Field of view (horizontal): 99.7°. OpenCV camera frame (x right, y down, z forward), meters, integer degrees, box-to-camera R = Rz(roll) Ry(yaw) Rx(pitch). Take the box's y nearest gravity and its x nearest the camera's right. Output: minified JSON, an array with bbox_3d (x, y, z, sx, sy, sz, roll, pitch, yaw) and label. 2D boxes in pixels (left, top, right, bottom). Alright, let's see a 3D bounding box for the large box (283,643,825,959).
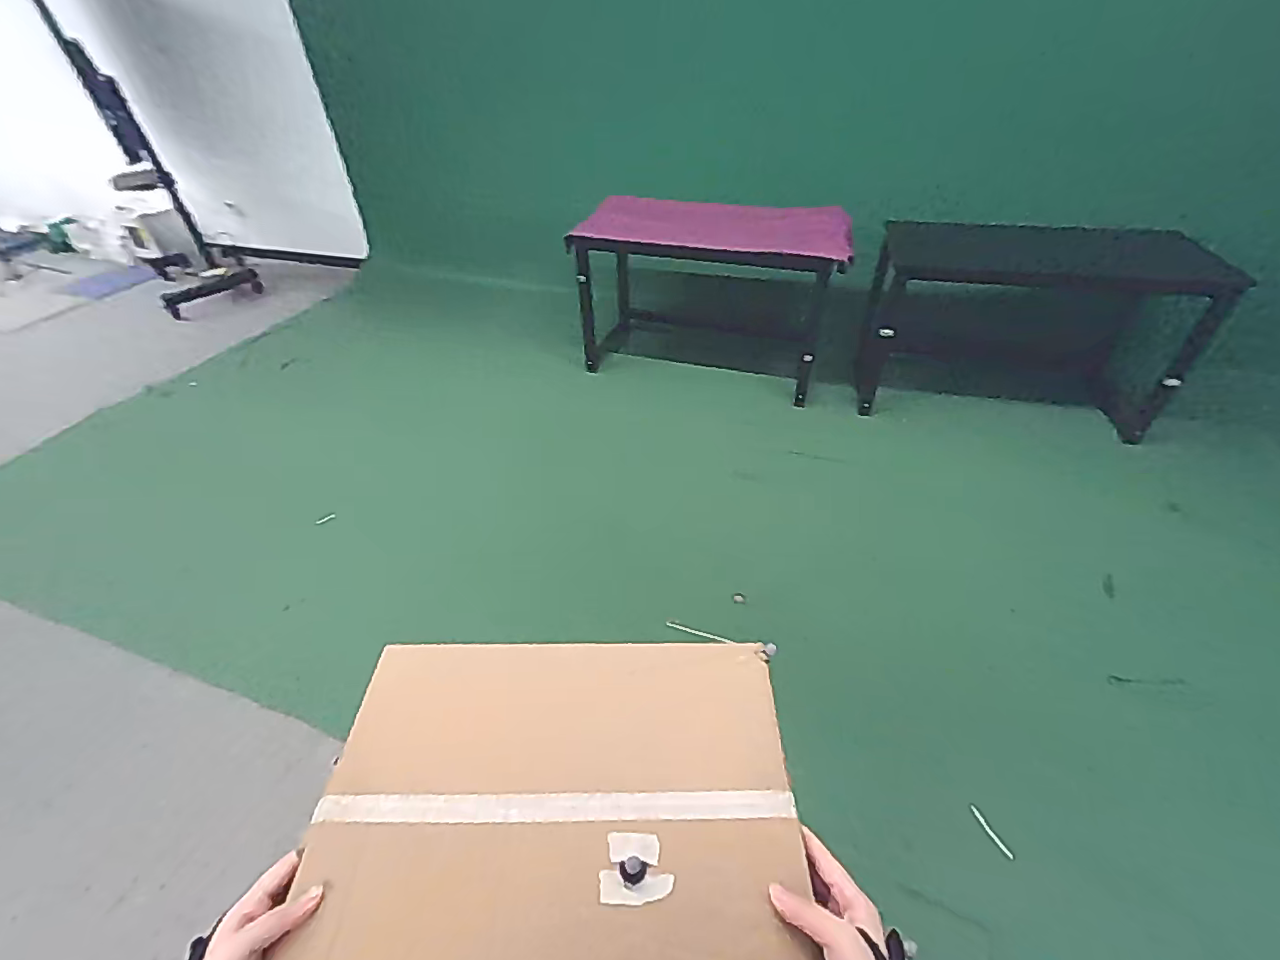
[{"bbox_3d":[-0.065,0.391,0.573,0.408,0.320,0.320,1,42,0],"label":"large box"}]
